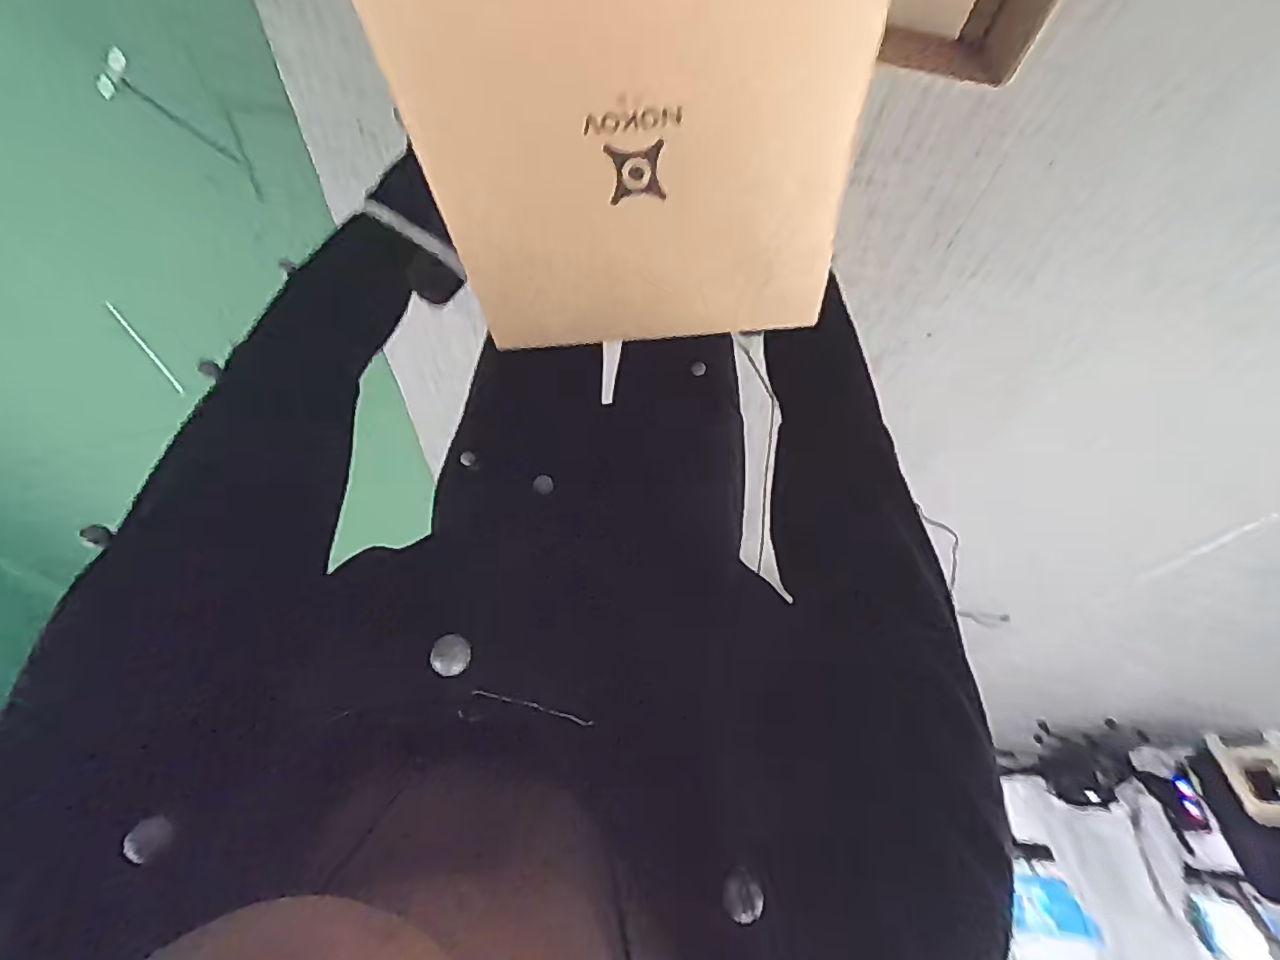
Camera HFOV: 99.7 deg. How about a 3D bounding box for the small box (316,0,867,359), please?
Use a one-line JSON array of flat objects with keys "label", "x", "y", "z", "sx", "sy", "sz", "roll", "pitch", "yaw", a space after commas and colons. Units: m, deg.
[{"label": "small box", "x": -0.008, "y": -0.179, "z": 0.247, "sx": 0.168, "sy": 0.176, "sz": 0.179, "roll": -2, "pitch": 145, "yaw": 5}]
